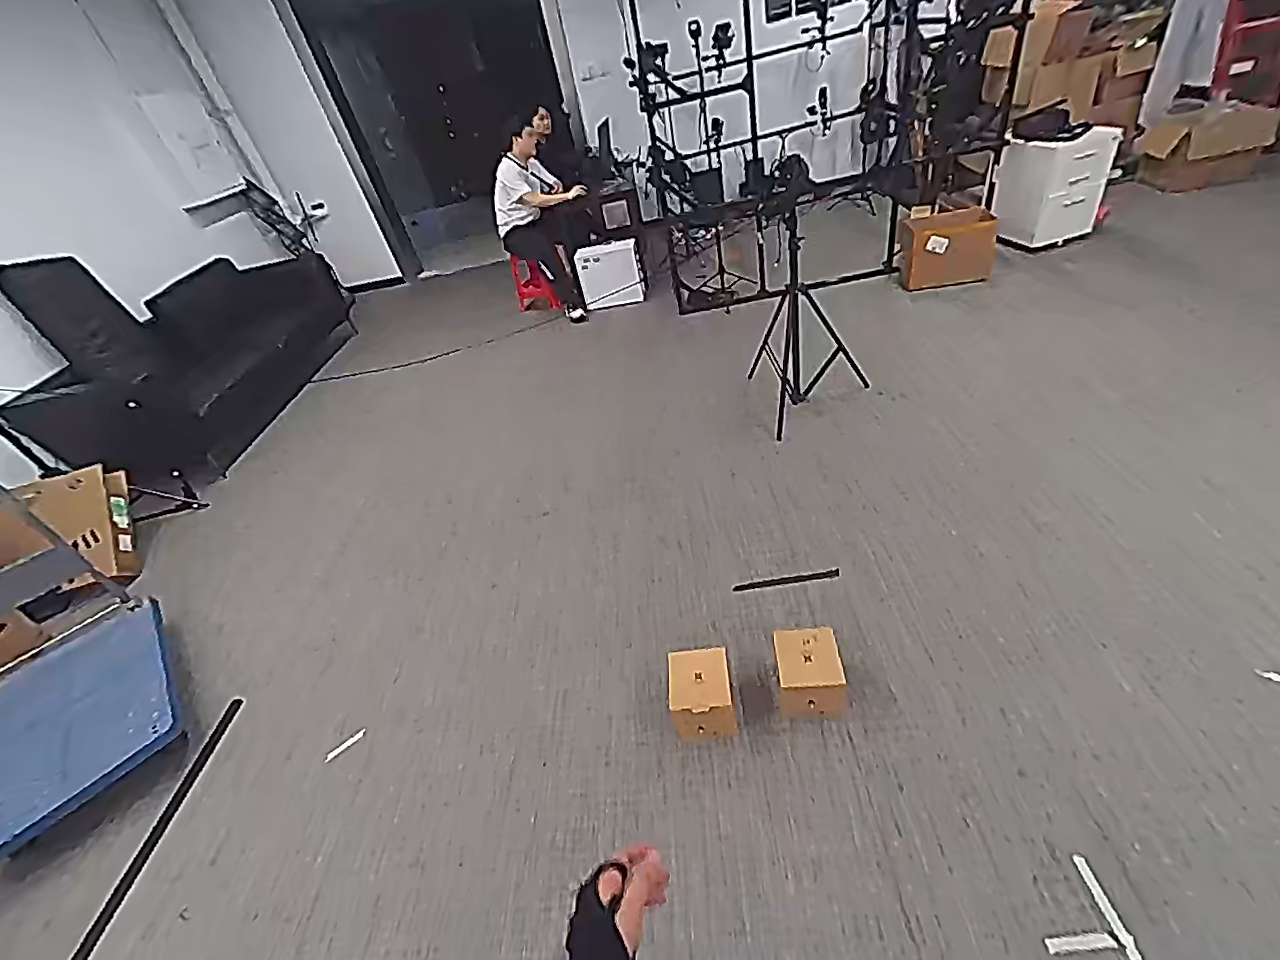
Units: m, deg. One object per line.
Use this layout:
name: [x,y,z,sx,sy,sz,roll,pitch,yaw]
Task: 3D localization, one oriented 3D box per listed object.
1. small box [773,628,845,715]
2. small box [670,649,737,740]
small box: [0.468,0.539,1.506,0.168,0.176,0.179,-6,38,10]
small box: [0.177,0.605,1.525,0.168,0.176,0.179,-9,39,8]
